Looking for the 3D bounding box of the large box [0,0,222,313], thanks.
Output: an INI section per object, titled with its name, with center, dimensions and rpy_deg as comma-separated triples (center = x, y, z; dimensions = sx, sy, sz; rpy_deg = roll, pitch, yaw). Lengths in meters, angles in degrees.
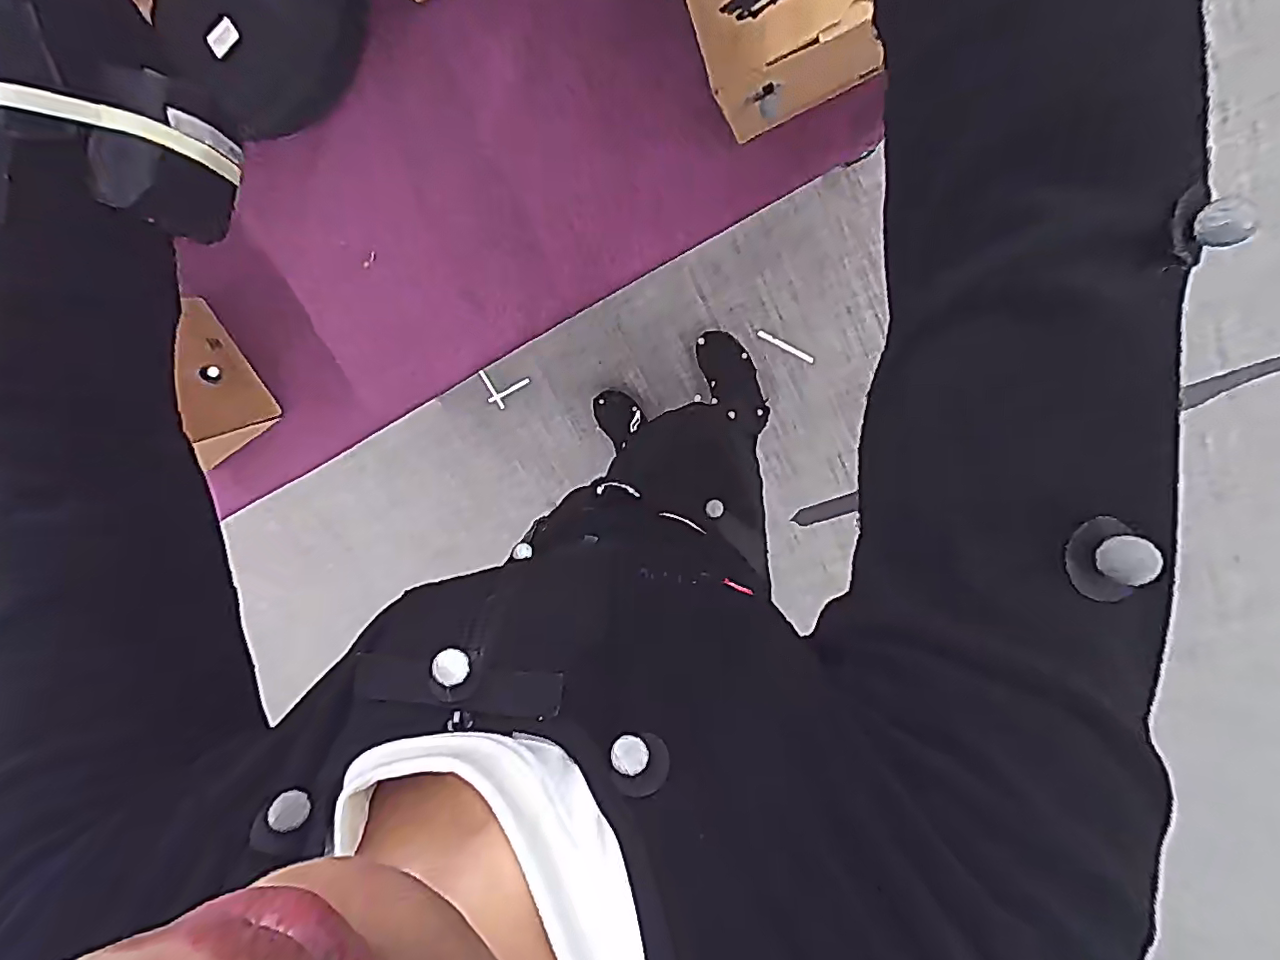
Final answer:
[large box]
center = -0.700, -0.387, 0.453
dimensions = 0.320, 0.320, 0.408
rpy_deg = -24, 107, 22
